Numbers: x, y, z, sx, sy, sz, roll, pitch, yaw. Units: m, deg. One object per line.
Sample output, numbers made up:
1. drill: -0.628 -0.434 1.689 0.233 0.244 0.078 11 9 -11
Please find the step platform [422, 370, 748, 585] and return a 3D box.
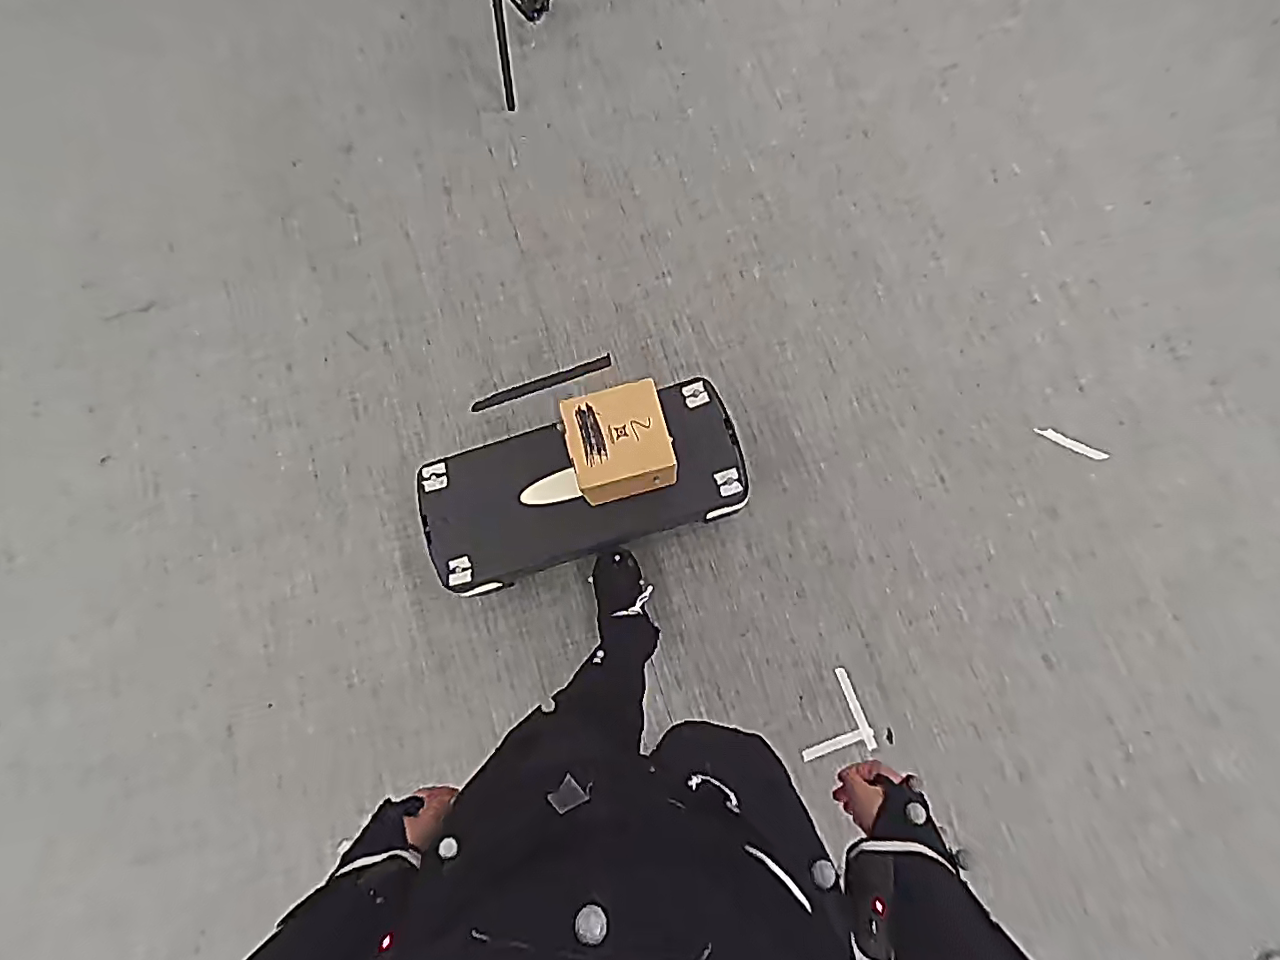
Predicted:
1. step platform: -0.115 -0.001 1.191 0.684 0.204 0.286 -18 78 -1
